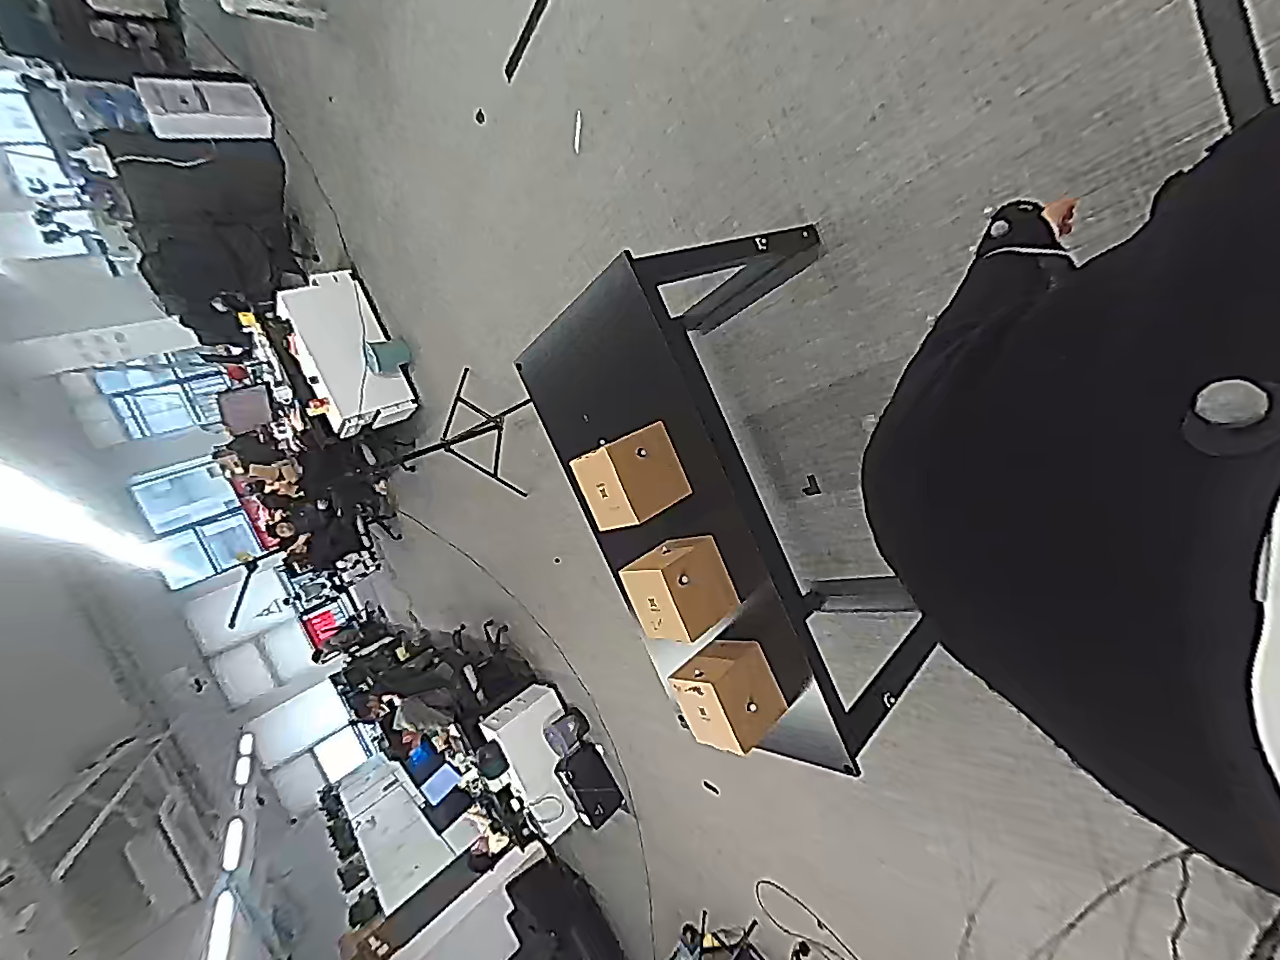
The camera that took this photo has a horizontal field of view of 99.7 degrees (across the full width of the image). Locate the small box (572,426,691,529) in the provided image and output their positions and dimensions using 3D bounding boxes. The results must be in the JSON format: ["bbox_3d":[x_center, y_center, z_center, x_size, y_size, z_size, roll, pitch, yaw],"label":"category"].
[{"bbox_3d":[-0.018,-0.010,1.209,0.168,0.176,0.179,-19,96,56],"label":"small box"}]

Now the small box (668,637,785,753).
[{"bbox_3d":[0.204,0.488,1.254,0.168,0.176,0.179,-22,95,54],"label":"small box"}]

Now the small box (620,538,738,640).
[{"bbox_3d":[0.091,0.240,1.233,0.168,0.176,0.179,-16,99,55],"label":"small box"}]
